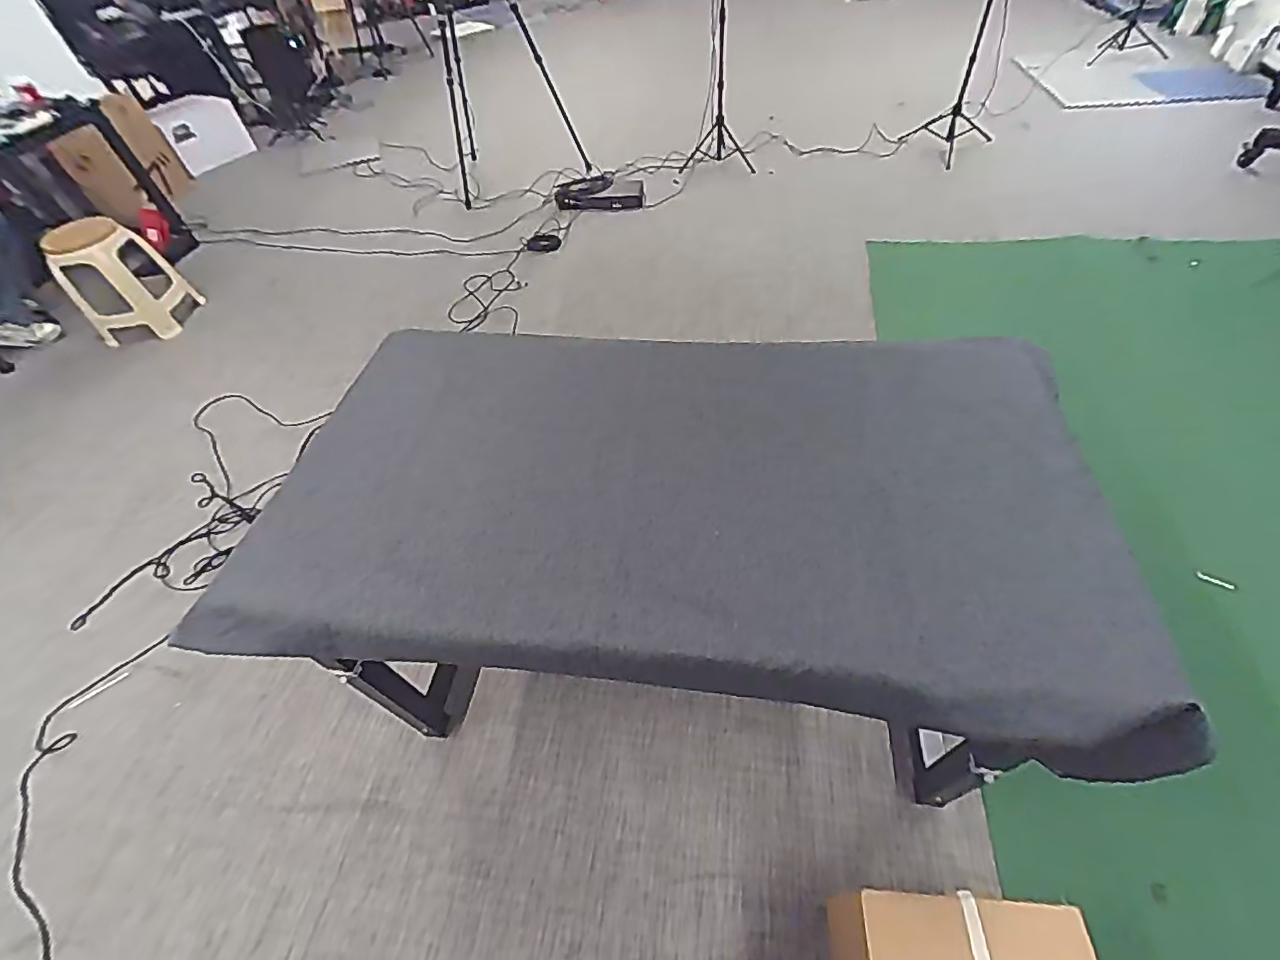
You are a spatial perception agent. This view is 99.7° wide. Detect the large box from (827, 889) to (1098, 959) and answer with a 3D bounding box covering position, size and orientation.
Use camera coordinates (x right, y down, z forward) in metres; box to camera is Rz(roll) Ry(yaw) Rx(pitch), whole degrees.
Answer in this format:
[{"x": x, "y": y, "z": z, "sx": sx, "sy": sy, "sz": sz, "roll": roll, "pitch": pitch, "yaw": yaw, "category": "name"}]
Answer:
[{"x": 0.489, "y": 0.865, "z": 0.799, "sx": 0.320, "sy": 0.320, "sz": 0.408, "roll": 0, "pitch": 51, "yaw": 7, "category": "large box"}]
